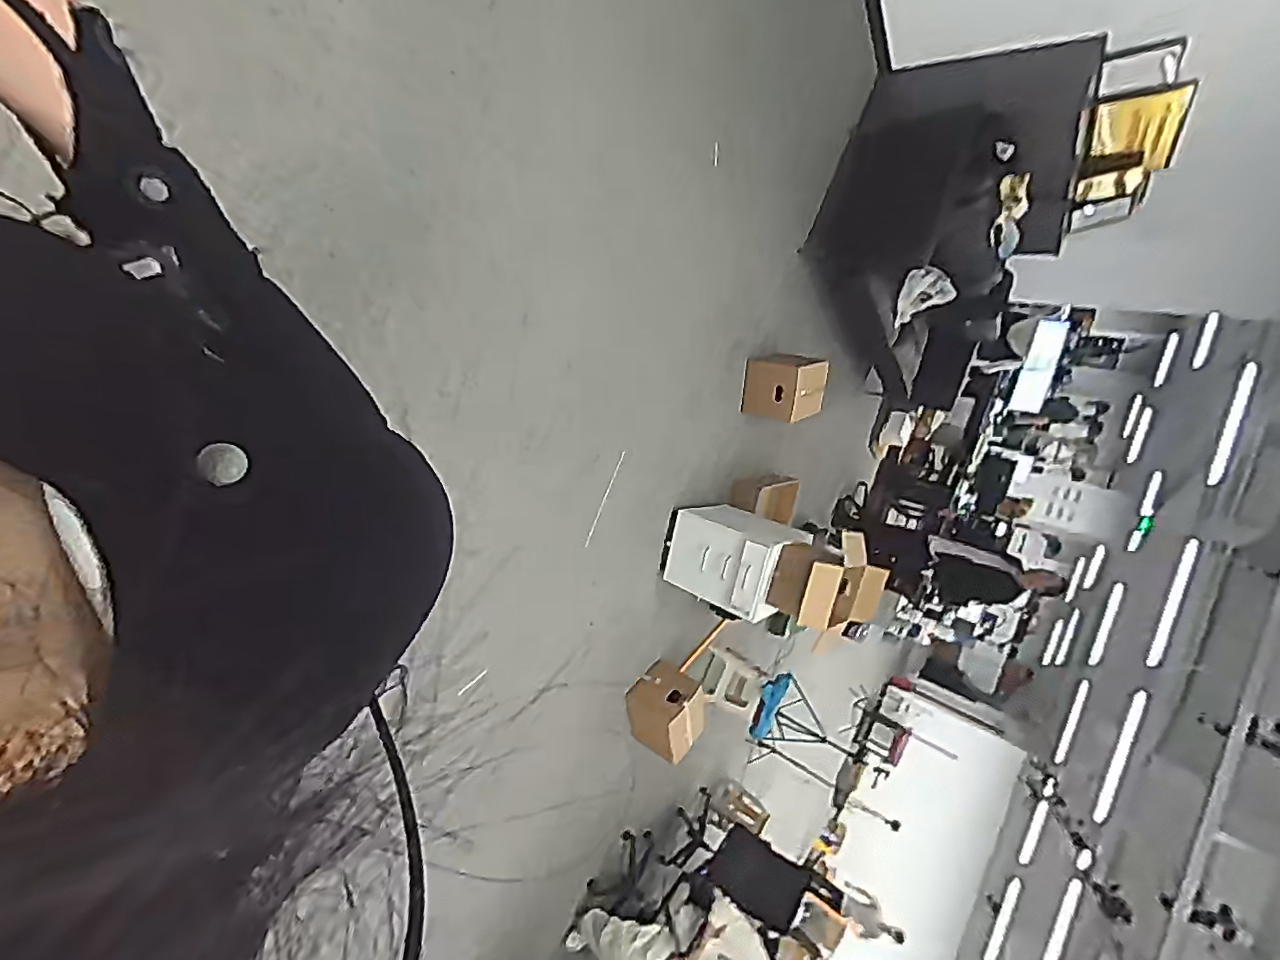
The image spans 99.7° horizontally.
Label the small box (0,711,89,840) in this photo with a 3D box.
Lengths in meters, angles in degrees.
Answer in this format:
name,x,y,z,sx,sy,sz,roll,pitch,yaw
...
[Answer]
name,x,y,z,sx,sy,sz,roll,pitch,yaw
small box,-1.264,0.579,1.068,0.168,0.176,0.179,-60,144,-14
